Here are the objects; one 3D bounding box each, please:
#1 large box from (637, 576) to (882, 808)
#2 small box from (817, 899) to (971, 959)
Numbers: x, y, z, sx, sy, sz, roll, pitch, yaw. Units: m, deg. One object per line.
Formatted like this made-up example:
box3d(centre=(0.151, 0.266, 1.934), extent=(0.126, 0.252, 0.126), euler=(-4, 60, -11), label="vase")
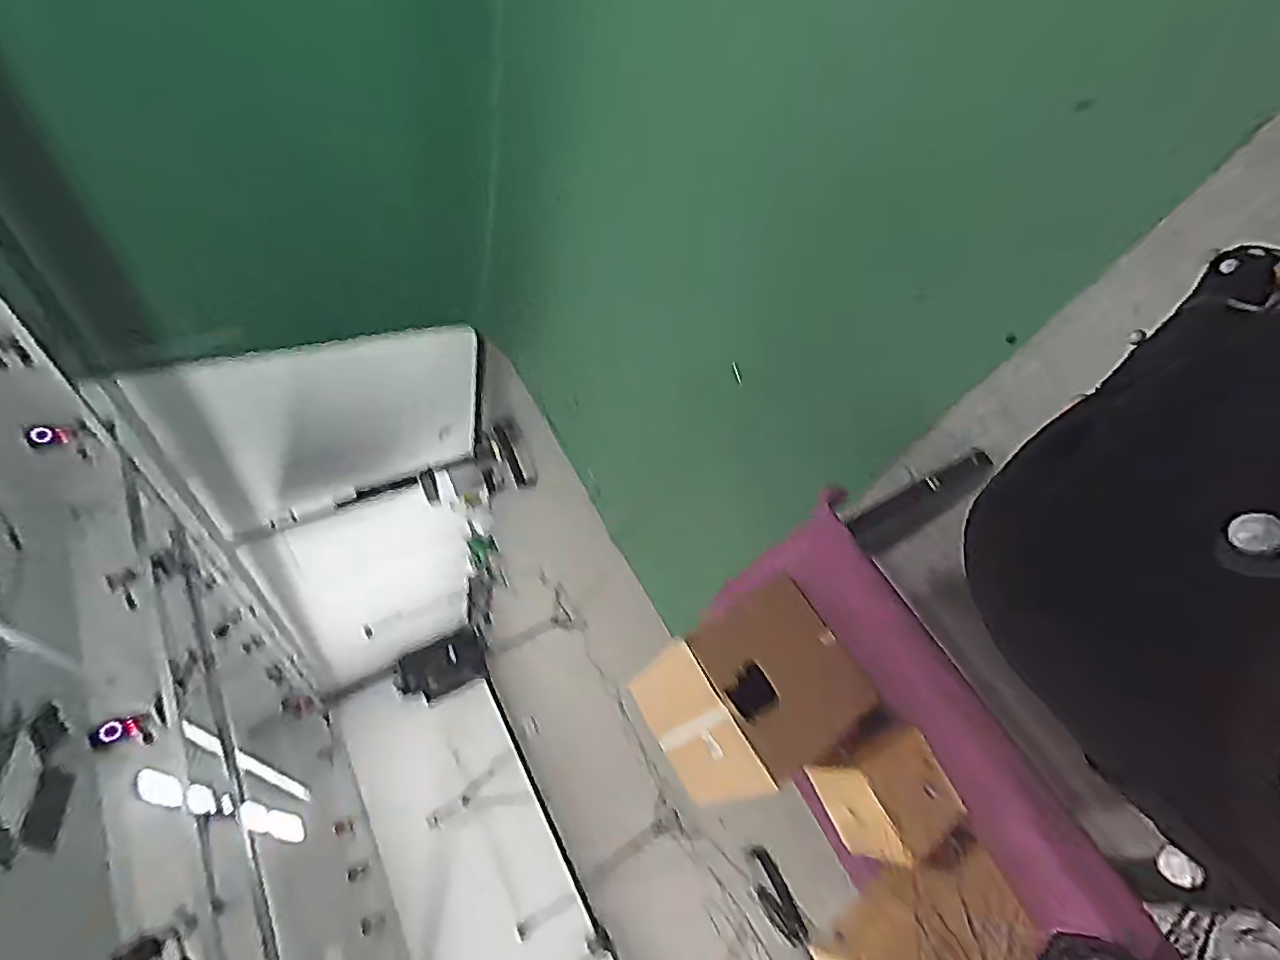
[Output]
box3d(centre=(0.244, 0.479, 1.222), extent=(0.320, 0.320, 0.408), euler=(55, 146, 22), label="large box")
box3d(centre=(0.442, 0.840, 0.899), extent=(0.168, 0.176, 0.179), euler=(58, 148, 21), label="small box")
